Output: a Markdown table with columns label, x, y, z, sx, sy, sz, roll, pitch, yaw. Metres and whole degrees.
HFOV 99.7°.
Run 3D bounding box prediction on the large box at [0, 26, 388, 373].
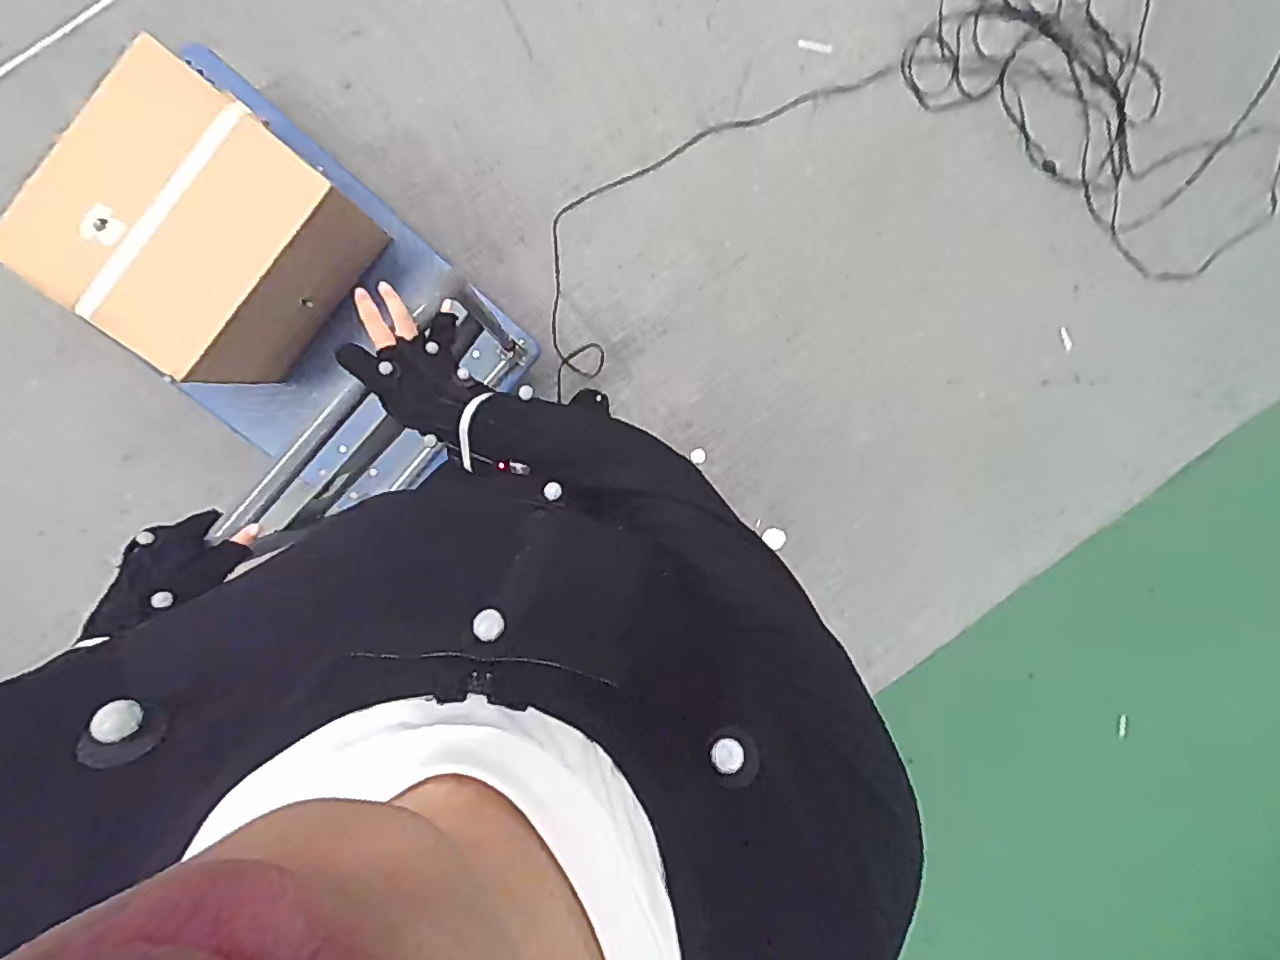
| label | x | y | z | sx | sy | sz | roll | pitch | yaw |
| --- | --- | --- | --- | --- | --- | --- | --- | --- | --- |
| large box | -0.739 | -0.446 | 0.972 | 0.320 | 0.320 | 0.408 | 39 | 93 | -12 |
